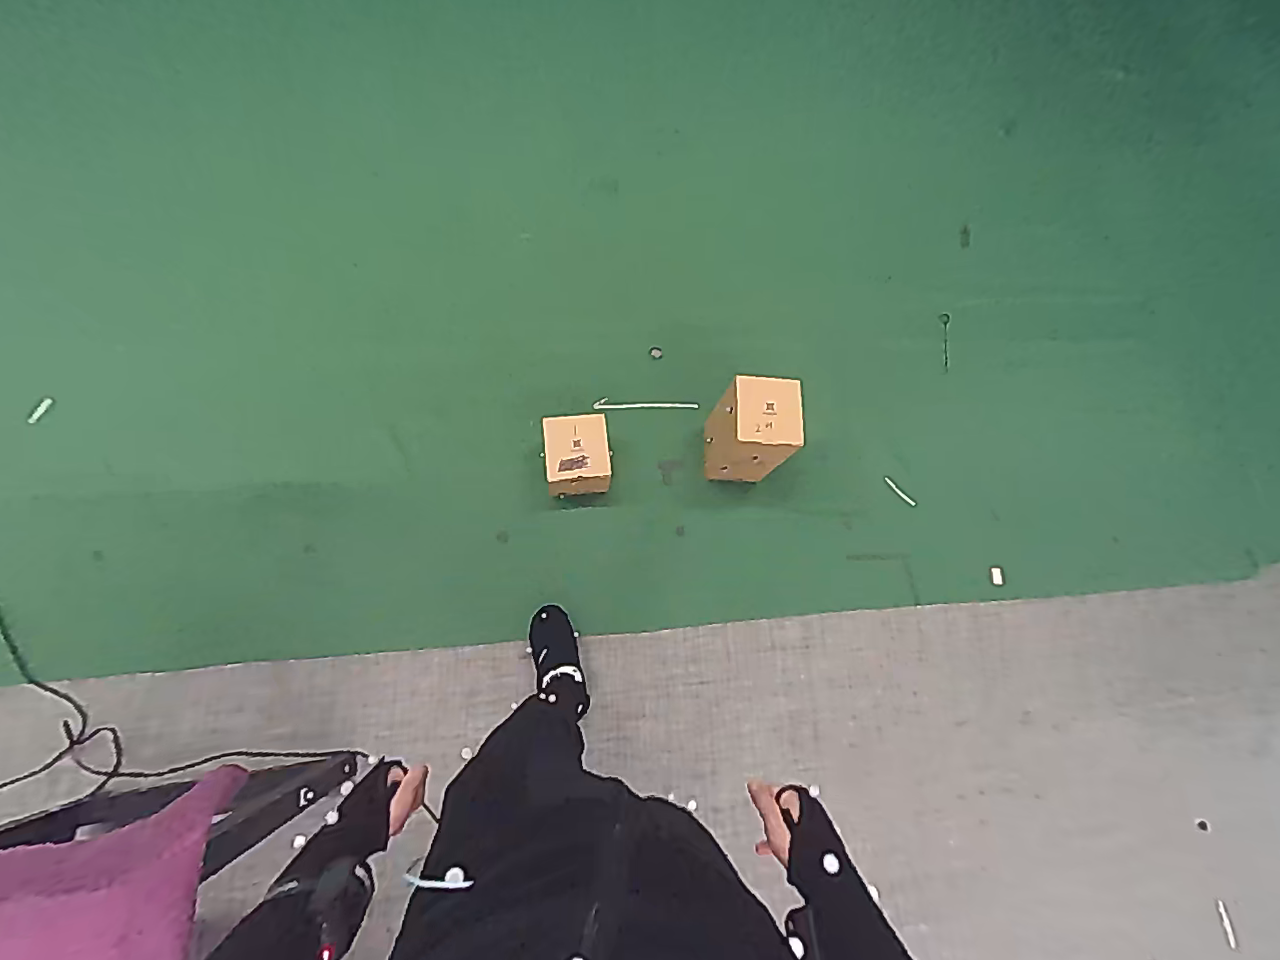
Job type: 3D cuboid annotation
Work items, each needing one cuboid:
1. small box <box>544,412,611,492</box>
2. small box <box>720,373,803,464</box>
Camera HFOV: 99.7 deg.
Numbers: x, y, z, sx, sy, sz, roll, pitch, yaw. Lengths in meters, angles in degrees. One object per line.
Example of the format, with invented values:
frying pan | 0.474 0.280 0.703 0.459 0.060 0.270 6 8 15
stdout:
small box | -0.171 -0.070 1.479 0.168 0.176 0.179 -5 75 -8
small box | 0.305 -0.153 1.388 0.168 0.176 0.179 4 75 -6
